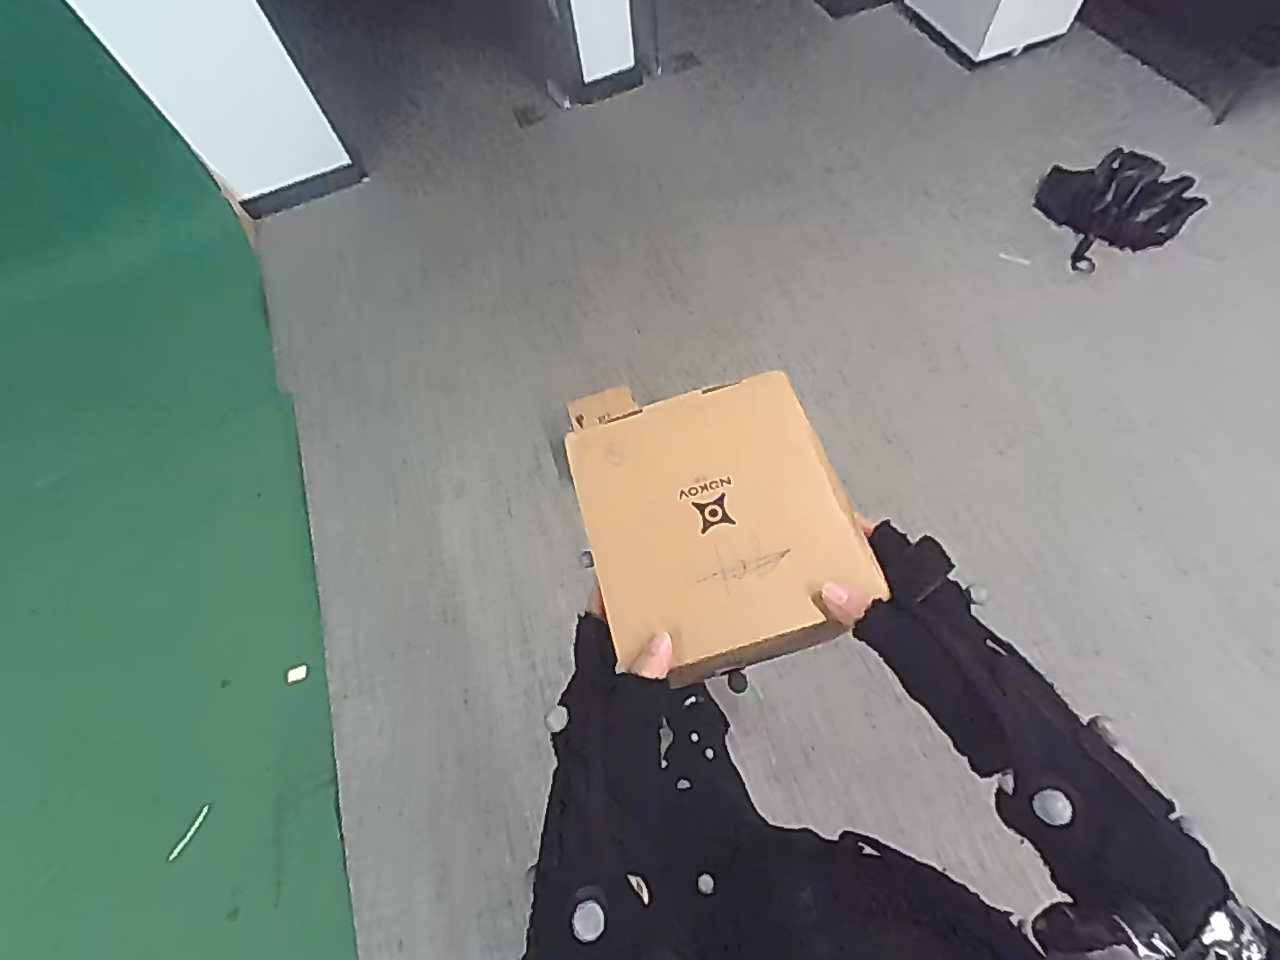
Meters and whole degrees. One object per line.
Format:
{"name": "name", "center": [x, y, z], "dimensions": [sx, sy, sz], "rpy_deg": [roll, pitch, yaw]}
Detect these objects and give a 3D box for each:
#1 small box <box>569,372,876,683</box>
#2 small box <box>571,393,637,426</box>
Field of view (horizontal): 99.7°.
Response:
{"name": "small box", "center": [0.053, 0.049, 0.433], "dimensions": [0.168, 0.176, 0.179], "rpy_deg": [-16, 65, 0]}
{"name": "small box", "center": [-0.077, -0.109, 1.490], "dimensions": [0.179, 0.176, 0.168], "rpy_deg": [-17, 64, -3]}
